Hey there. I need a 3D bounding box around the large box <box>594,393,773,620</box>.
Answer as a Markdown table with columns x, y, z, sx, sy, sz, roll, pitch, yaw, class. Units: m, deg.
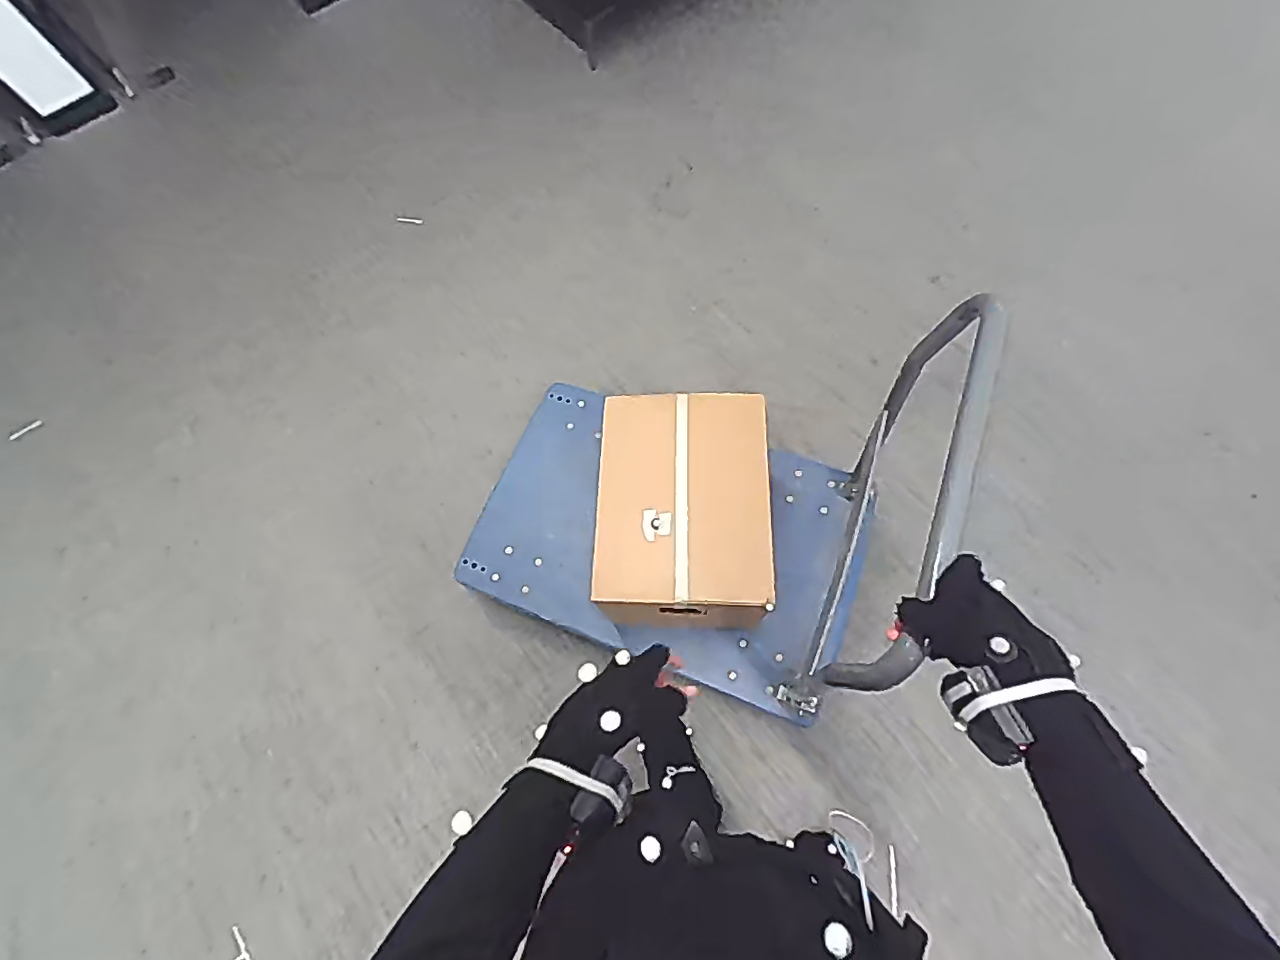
| x | y | z | sx | sy | sz | roll | pitch | yaw | class |
| --- | --- | --- | --- | --- | --- | --- | --- | --- | --- |
| 0.087 | 0.067 | 1.126 | 0.320 | 0.320 | 0.408 | 0 | 69 | 6 | large box |
